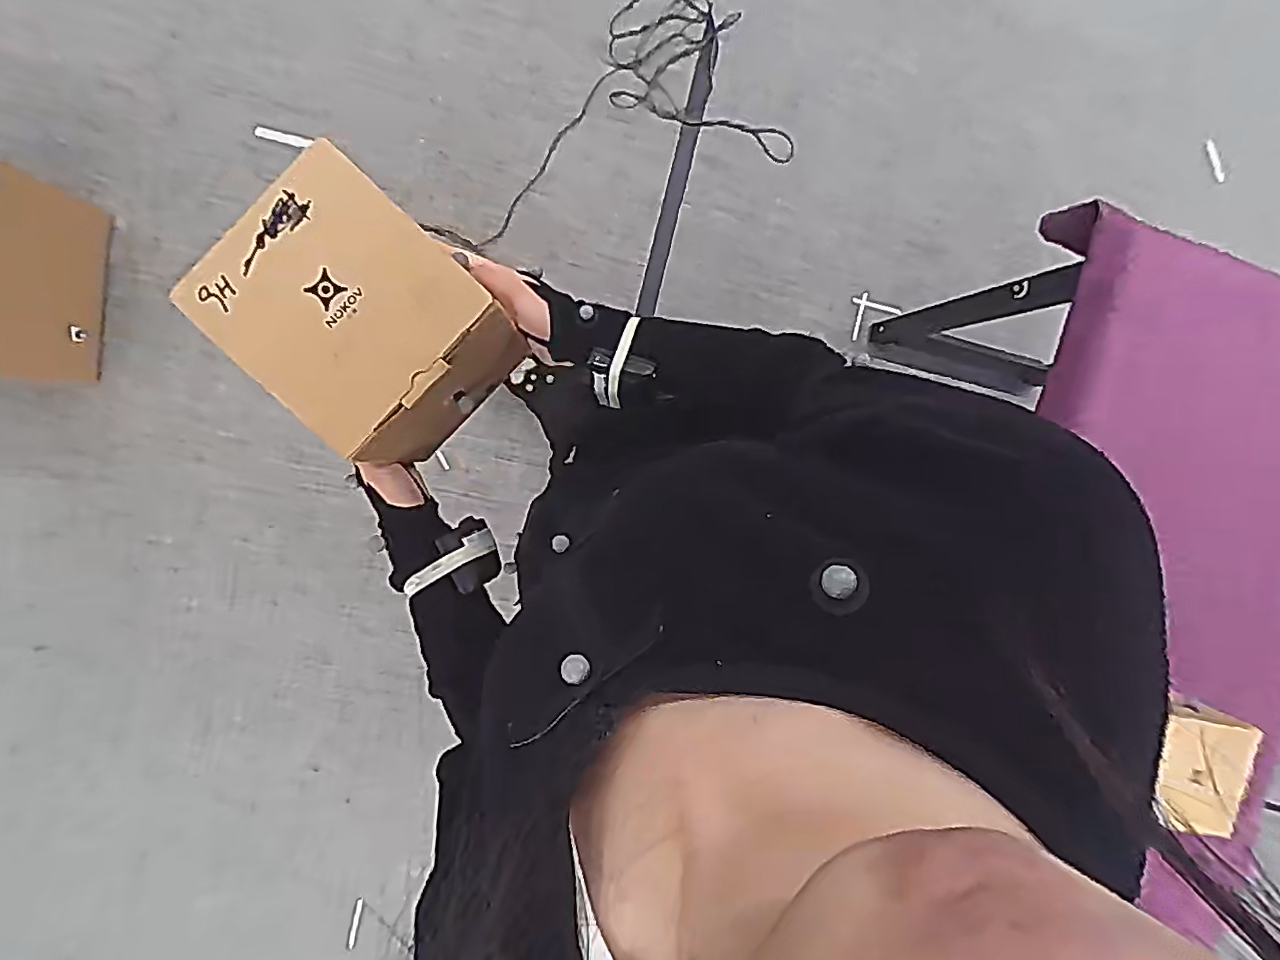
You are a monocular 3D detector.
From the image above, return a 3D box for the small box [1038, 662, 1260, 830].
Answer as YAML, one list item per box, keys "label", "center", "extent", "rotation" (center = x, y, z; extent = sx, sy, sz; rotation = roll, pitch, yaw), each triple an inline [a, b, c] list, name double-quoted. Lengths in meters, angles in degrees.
- label: "small box"
  center: [0.777, 0.404, 0.845]
  extent: [0.179, 0.176, 0.168]
  rotation: [13, 94, -11]

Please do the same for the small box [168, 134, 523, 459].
- label: "small box"
  center: [-0.225, -0.137, 0.472]
  extent: [0.179, 0.176, 0.168]
  rotation: [43, 89, -4]
